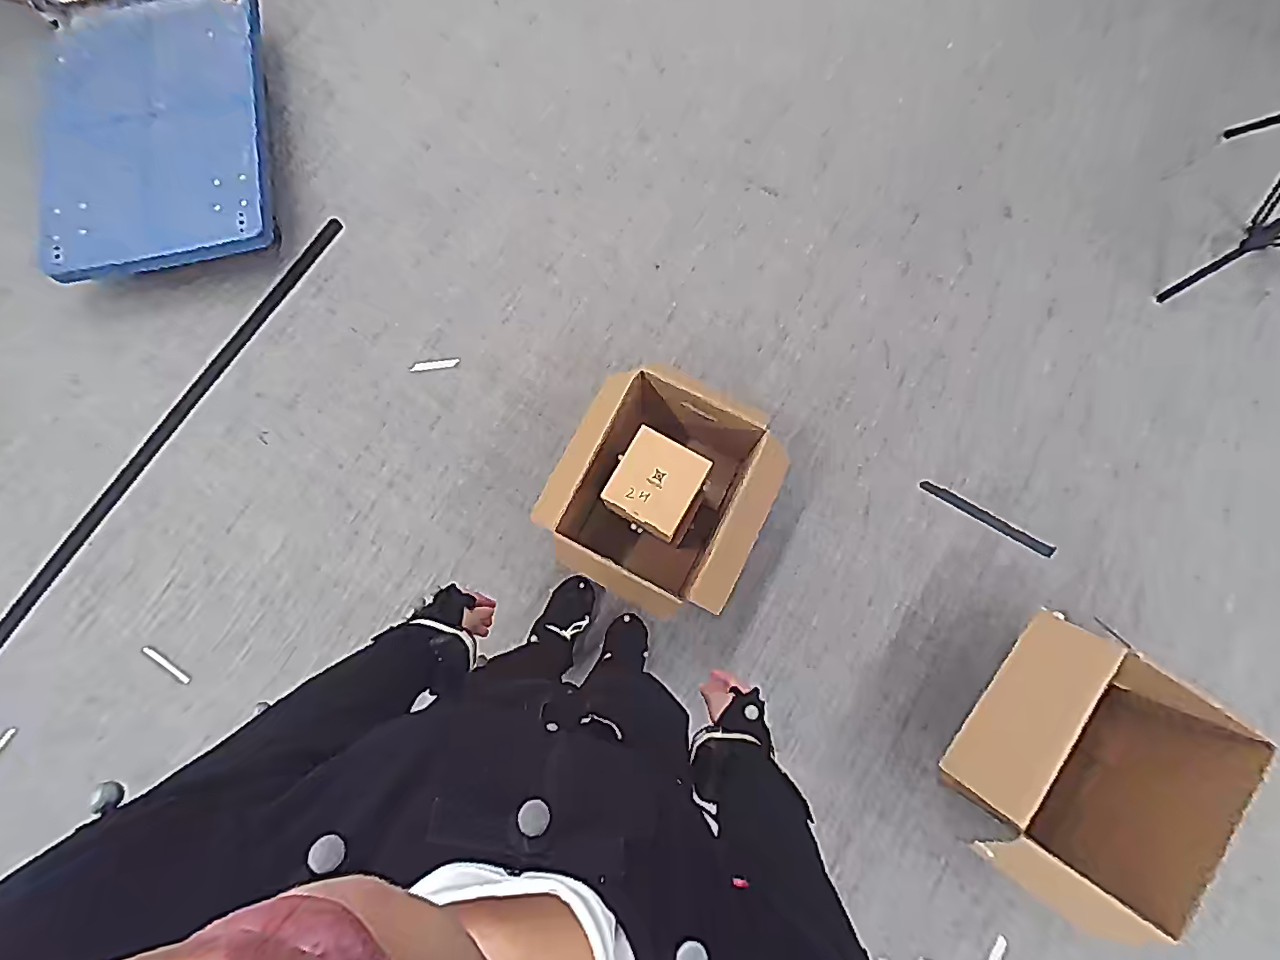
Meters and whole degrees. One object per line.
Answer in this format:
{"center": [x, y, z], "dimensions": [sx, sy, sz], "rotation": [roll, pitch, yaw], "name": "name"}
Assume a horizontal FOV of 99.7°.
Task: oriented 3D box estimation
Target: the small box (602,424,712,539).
{"center": [0.035, 0.011, 1.163], "dimensions": [0.168, 0.176, 0.179], "rotation": [30, 81, 7], "name": "small box"}
